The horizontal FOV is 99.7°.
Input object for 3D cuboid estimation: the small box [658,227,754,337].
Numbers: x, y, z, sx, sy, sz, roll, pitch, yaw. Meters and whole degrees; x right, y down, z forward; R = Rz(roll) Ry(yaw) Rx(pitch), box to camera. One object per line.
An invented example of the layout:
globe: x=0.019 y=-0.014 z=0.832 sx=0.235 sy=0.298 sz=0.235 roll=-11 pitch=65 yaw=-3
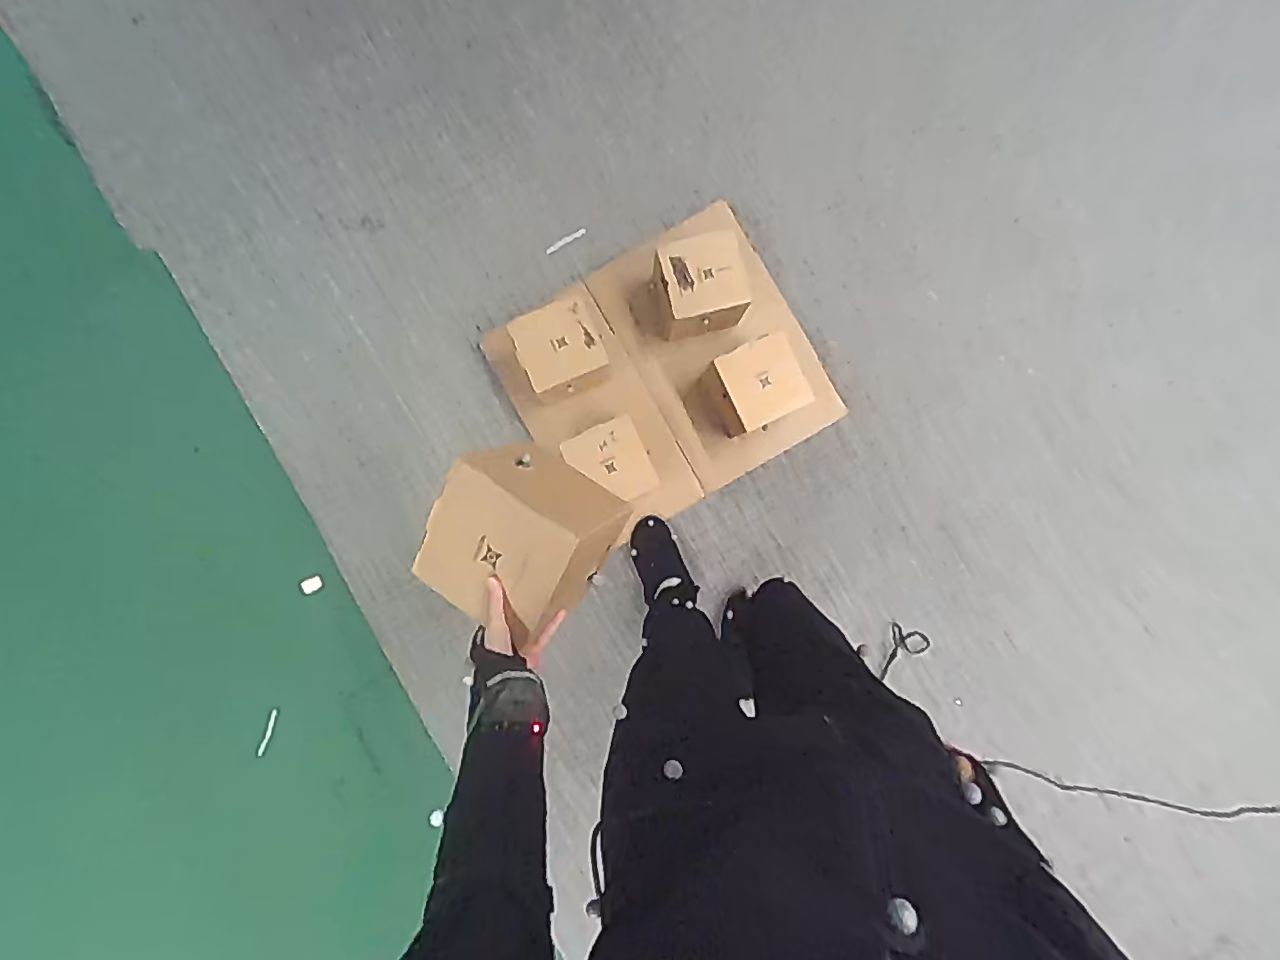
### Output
small box: x=0.139 y=-0.437 z=1.221 sx=0.179 sy=0.176 sz=0.168 roll=-13 pitch=90 yaw=-2

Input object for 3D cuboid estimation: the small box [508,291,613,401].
small box: x=-0.170 y=-0.291 z=1.220 sx=0.179 sy=0.176 sz=0.168 roll=-23 pitch=89 yaw=-1

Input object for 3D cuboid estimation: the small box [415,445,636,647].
small box: x=-0.135 y=0.068 z=0.679 sx=0.179 sy=0.176 sz=0.168 roll=33 pitch=107 yaw=13

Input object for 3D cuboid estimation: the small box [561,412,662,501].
small box: x=-0.060 y=-0.035 z=1.218 sx=0.168 sy=0.176 sz=0.179 roll=-24 pitch=90 yaw=-1

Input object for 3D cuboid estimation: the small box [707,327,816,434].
small box: x=0.265 y=-0.213 z=1.222 sx=0.168 sy=0.176 sz=0.179 roll=-26 pitch=89 yaw=-1
